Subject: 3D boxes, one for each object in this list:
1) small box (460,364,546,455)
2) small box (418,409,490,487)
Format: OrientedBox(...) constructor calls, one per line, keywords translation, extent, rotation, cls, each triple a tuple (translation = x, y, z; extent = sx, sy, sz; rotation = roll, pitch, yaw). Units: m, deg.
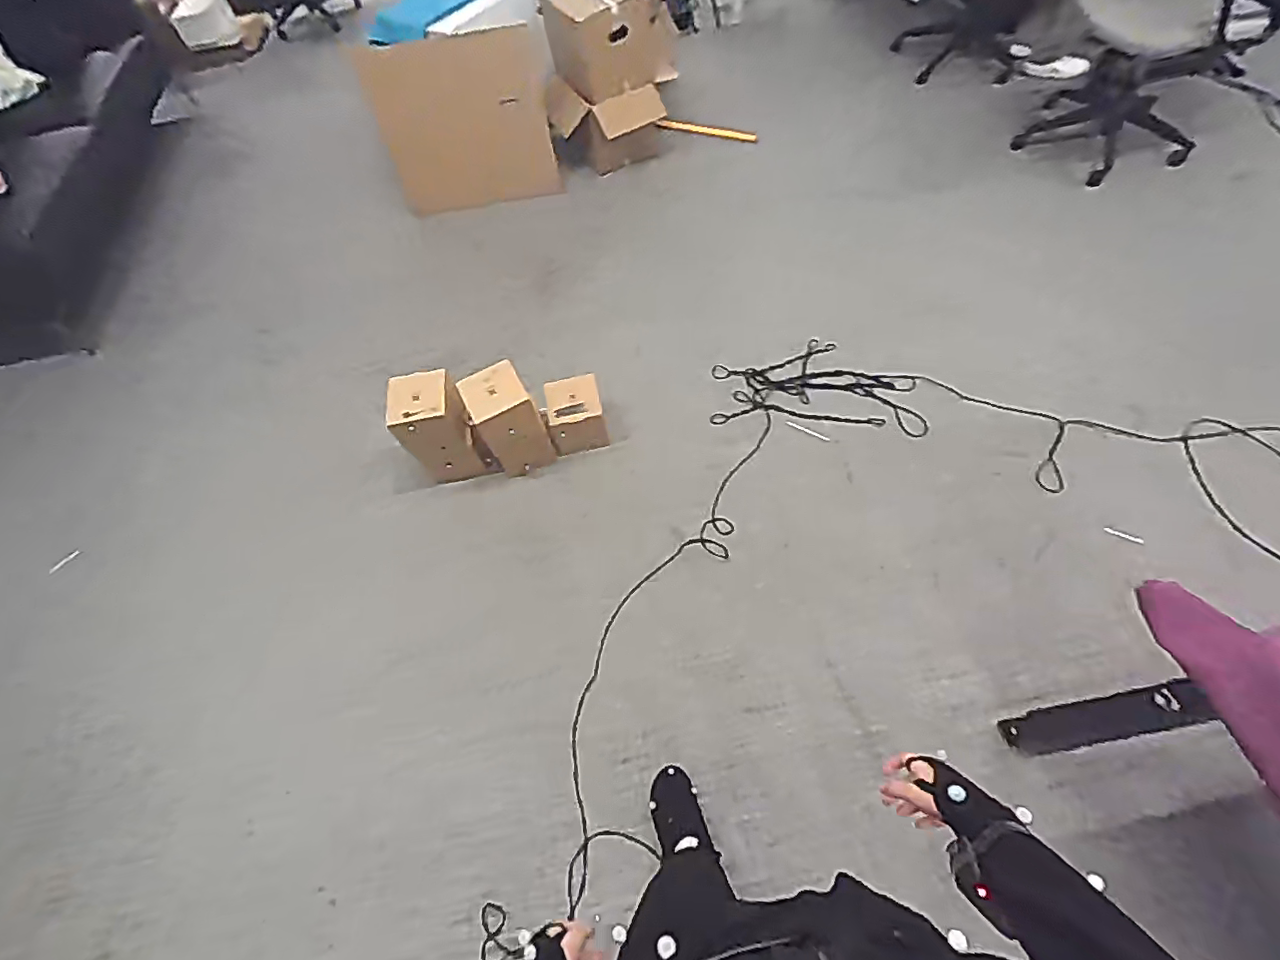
OrientedBox(translation=(-0.394, -0.196, 1.575), extent=(0.168, 0.176, 0.179), rotation=(-27, 60, -9), cls="small box")
OrientedBox(translation=(-0.588, -0.099, 1.729), extent=(0.179, 0.176, 0.168), rotation=(-12, 58, 0), cls="small box")
